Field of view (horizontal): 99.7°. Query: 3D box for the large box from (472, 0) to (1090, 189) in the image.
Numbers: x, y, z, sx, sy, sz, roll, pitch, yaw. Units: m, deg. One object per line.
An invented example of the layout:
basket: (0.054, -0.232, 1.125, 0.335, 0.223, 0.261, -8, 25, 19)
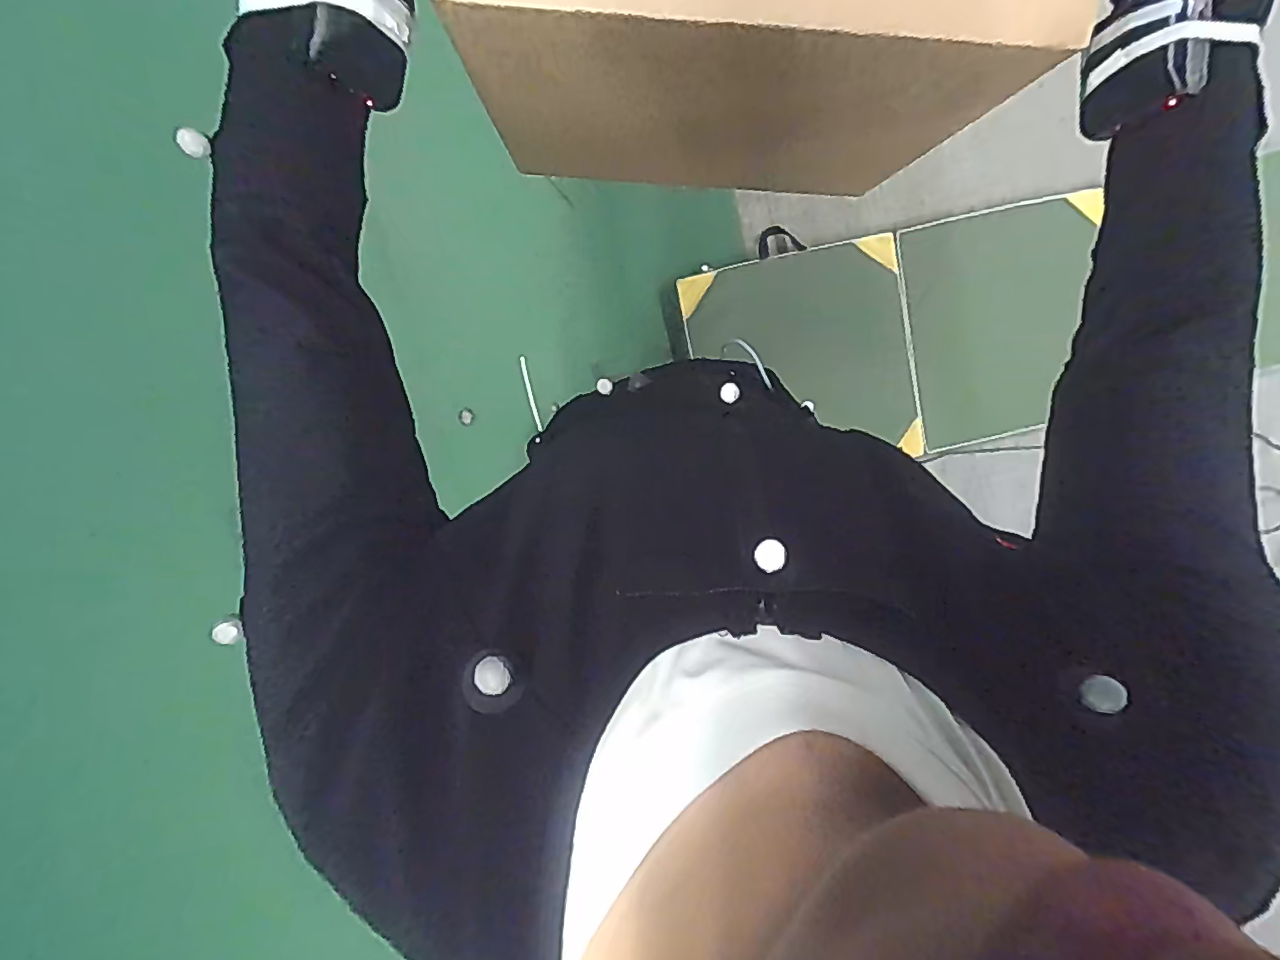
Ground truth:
large box: (0.085, -0.464, 0.452, 0.408, 0.320, 0.320, 2, 103, -5)
